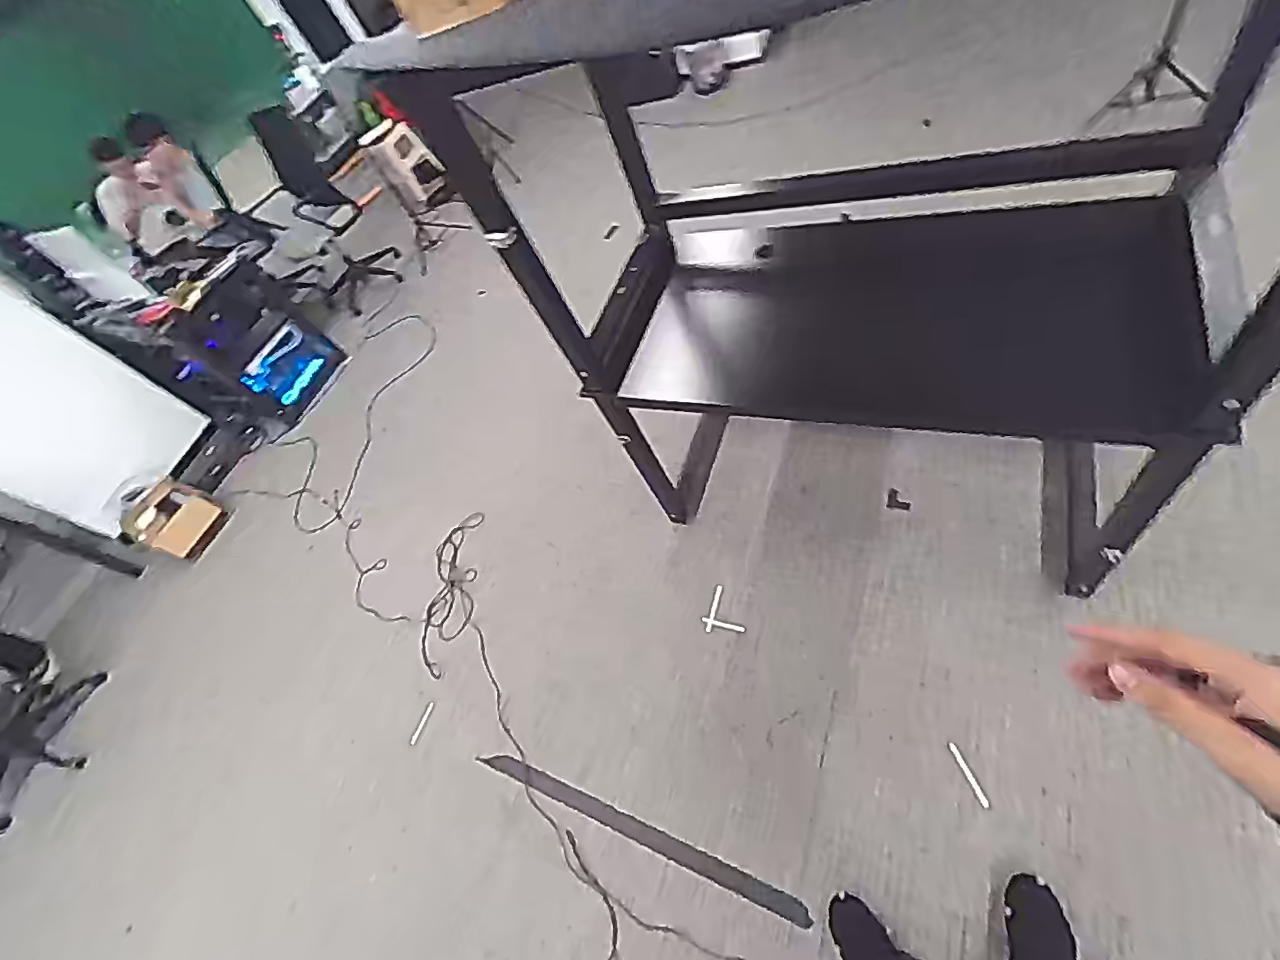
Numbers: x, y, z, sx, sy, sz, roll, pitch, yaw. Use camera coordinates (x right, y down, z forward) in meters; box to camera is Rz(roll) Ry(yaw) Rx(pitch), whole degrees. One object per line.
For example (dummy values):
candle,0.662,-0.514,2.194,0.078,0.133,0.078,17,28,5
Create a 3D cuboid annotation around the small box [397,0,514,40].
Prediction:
small box,-0.243,-0.715,0.693,0.168,0.176,0.179,4,61,26
